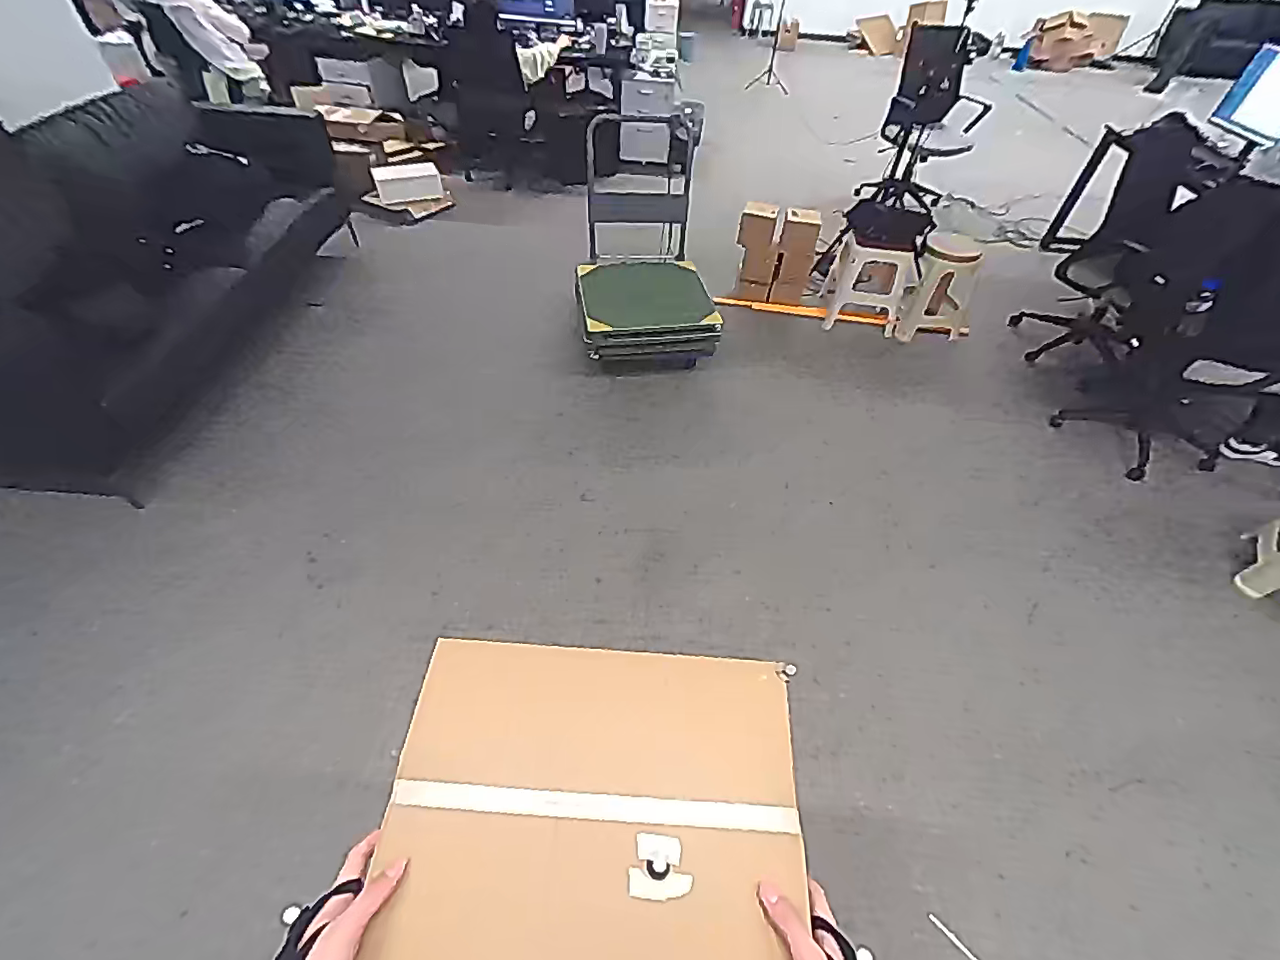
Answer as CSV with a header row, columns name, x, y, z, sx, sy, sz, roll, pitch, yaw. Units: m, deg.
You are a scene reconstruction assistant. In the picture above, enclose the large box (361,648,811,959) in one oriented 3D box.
name,x,y,z,sx,sy,sz,roll,pitch,yaw
large box,-0.046,0.420,0.663,0.408,0.320,0.320,4,54,1
